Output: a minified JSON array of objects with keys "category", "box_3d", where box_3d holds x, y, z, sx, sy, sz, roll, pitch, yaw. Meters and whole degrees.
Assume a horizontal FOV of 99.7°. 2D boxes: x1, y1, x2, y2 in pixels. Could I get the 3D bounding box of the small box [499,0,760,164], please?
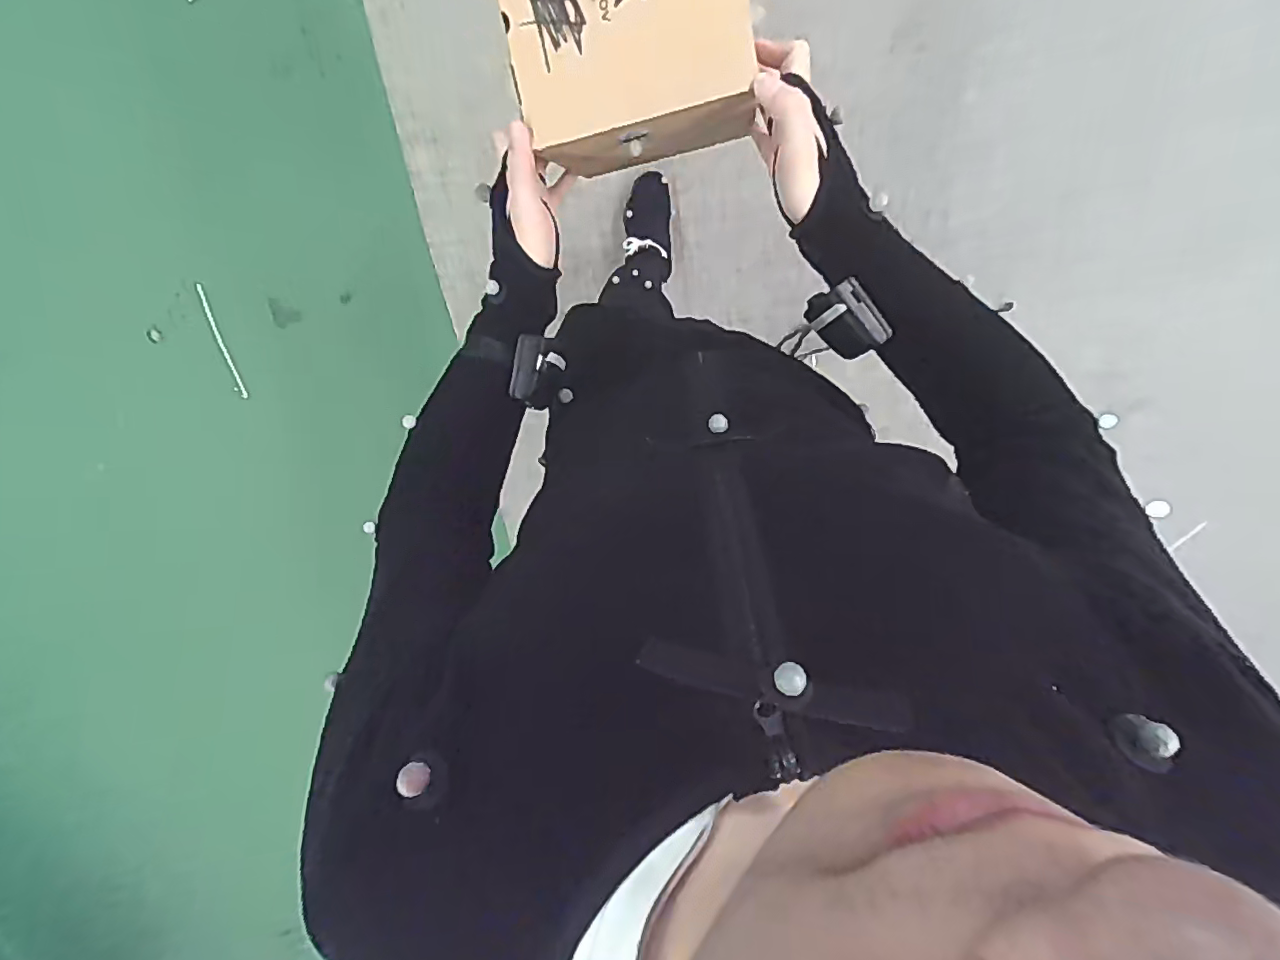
[{"category":"small box","box_3d":[-0.001,-0.373,0.433,0.179,0.176,0.168,-7,111,13]}]
